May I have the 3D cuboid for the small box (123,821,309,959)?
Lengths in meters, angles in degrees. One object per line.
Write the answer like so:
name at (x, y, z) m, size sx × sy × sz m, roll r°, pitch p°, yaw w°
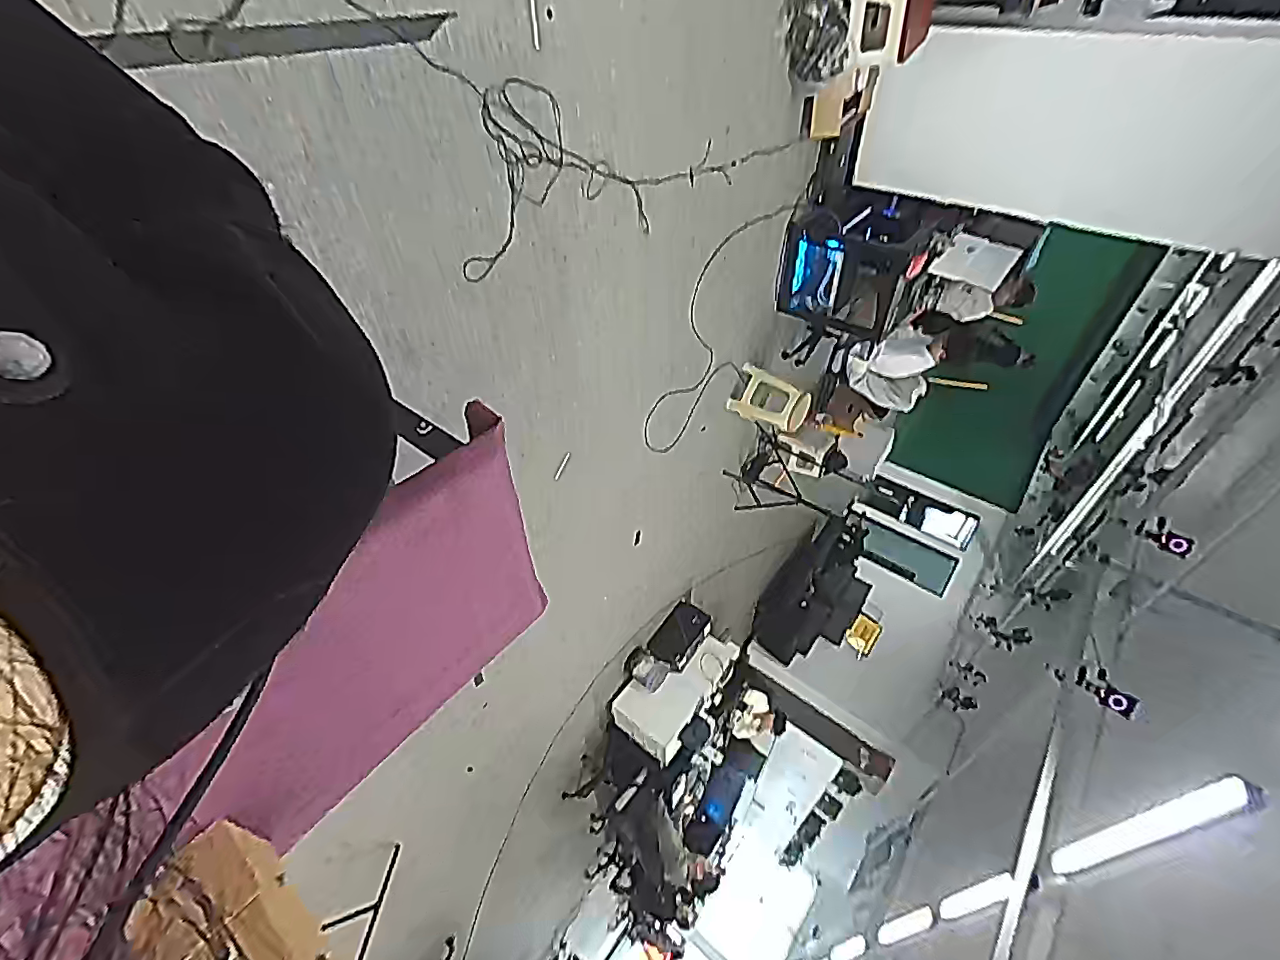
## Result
small box at (-0.726, 0.736, 0.936) m, size 0.168 × 0.176 × 0.179 m, roll -42°, pitch 146°, yaw -34°

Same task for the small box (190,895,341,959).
small box at (-0.603, 0.810, 0.861) m, size 0.168 × 0.176 × 0.179 m, roll -44°, pitch 146°, yaw -32°
